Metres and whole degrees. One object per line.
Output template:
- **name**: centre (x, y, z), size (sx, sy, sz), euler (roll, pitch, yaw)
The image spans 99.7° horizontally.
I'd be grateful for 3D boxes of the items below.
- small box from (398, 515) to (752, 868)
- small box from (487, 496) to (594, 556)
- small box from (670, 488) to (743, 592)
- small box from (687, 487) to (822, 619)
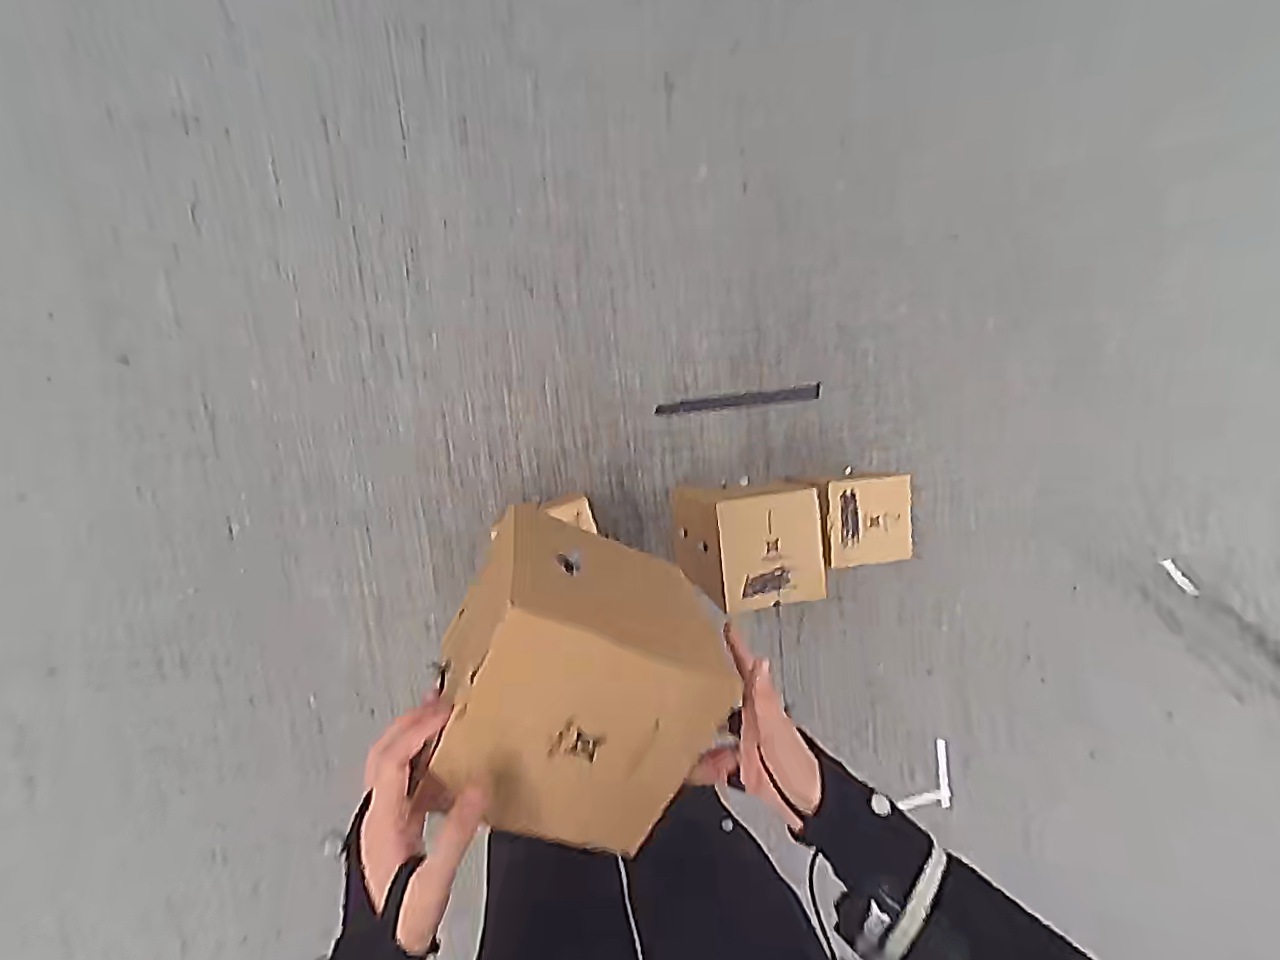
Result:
- **small box**: centre (-0.053, 0.148, 0.419), size (0.179, 0.176, 0.168), euler (26, 104, -20)
- **small box**: centre (-0.166, 0.137, 1.010), size (0.179, 0.176, 0.168), euler (-19, 98, -7)
- **small box**: centre (0.158, 0.109, 1.064), size (0.168, 0.176, 0.179), euler (-3, 95, -10)
- **small box**: centre (0.183, 0.111, 0.901), size (0.168, 0.176, 0.179), euler (-7, 94, -10)
